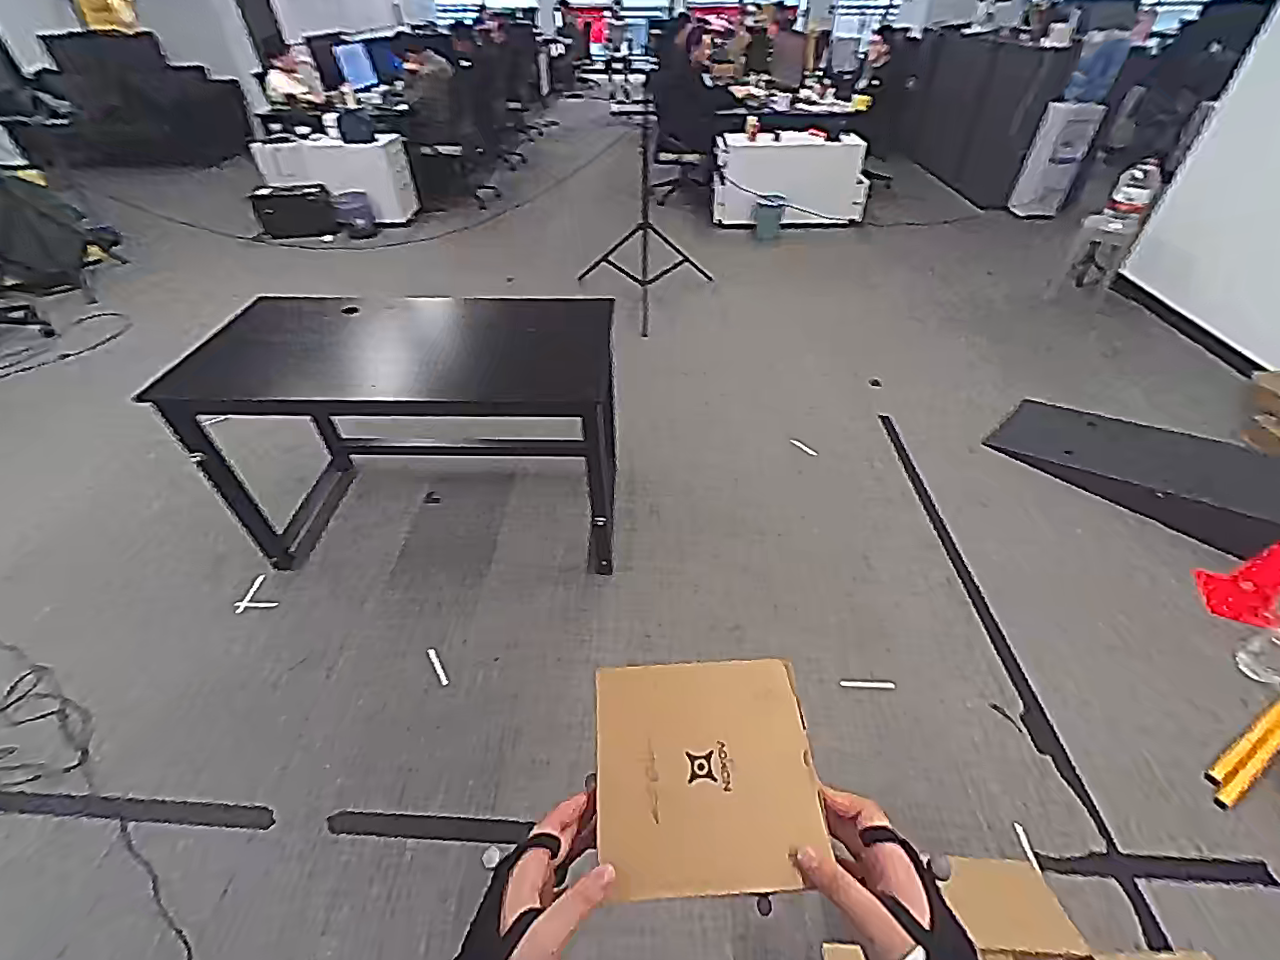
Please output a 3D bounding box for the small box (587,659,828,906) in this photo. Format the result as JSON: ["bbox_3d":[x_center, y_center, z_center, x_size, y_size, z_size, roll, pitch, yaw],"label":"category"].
[{"bbox_3d":[0.044,0.277,0.494,0.179,0.176,0.168,-4,52,-2],"label":"small box"}]
